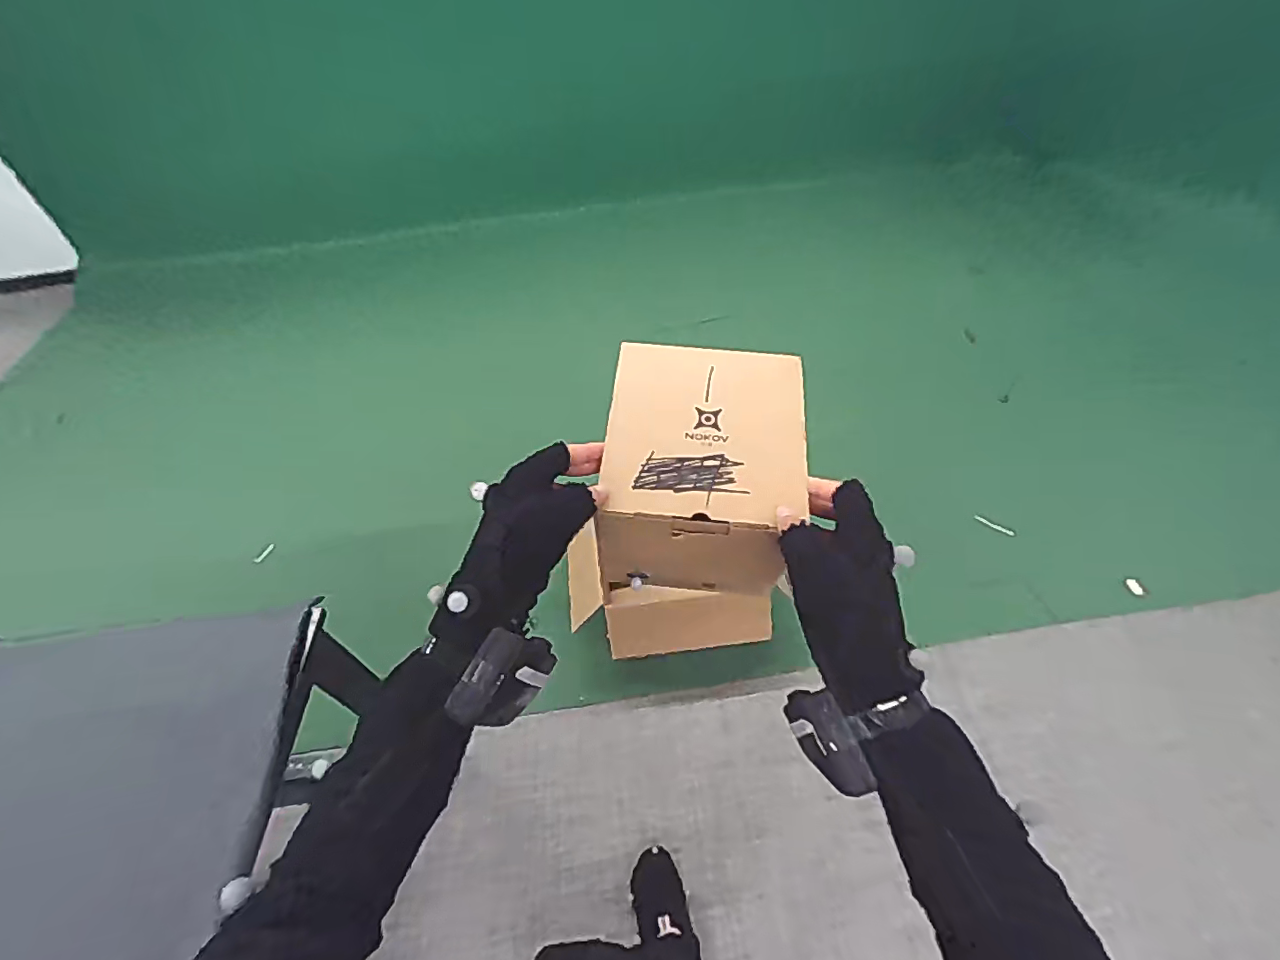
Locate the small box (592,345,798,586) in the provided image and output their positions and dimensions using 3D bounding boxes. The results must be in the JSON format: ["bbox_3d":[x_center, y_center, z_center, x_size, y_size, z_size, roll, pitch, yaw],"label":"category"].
[{"bbox_3d":[0.053,-0.007,0.532,0.168,0.176,0.179,5,60,3],"label":"small box"}]
